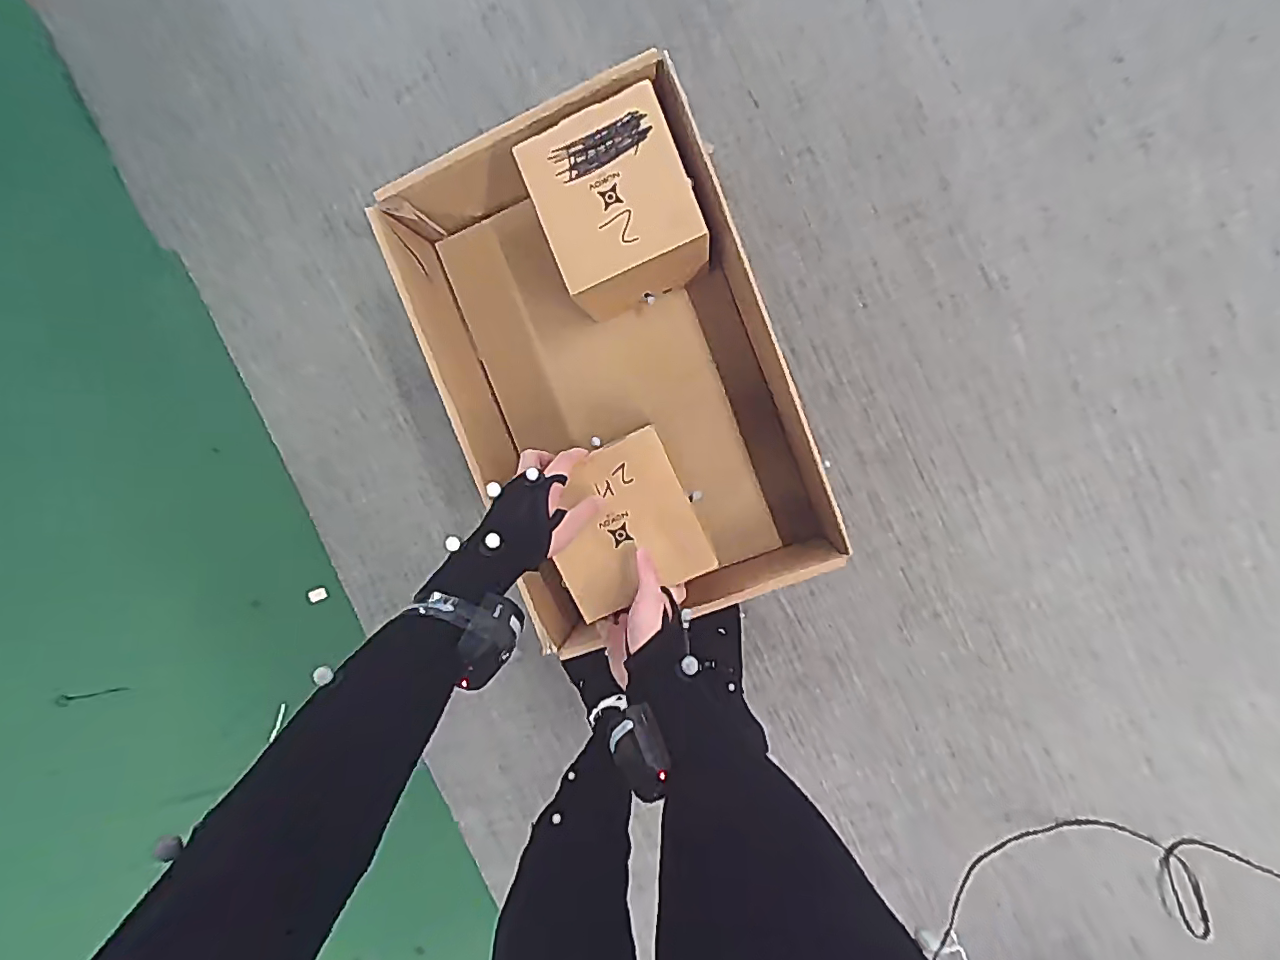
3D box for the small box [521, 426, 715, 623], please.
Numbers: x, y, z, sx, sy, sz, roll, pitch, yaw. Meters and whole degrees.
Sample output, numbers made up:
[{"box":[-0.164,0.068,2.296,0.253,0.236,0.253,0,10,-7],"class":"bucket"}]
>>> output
[{"box":[-0.017,0.043,0.670,0.168,0.176,0.179,-24,95,7],"class":"small box"}]
